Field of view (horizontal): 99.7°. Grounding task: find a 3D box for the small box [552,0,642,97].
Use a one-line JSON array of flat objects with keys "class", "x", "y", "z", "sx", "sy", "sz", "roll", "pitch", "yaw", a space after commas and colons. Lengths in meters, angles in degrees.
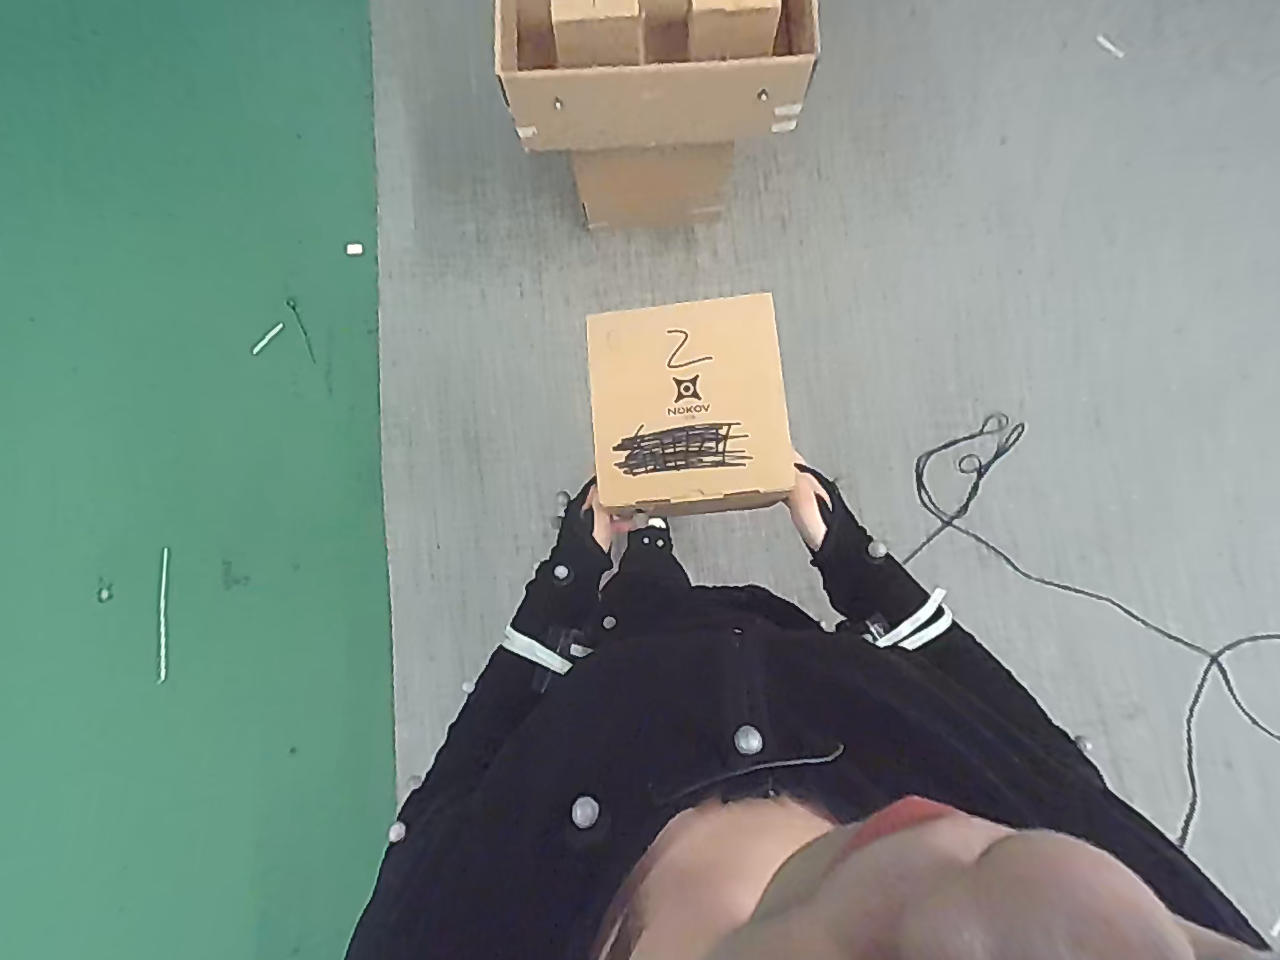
[{"class": "small box", "x": -0.083, "y": -0.925, "z": 1.097, "sx": 0.168, "sy": 0.176, "sz": 0.179, "roll": -3, "pitch": 83, "yaw": 2}]
